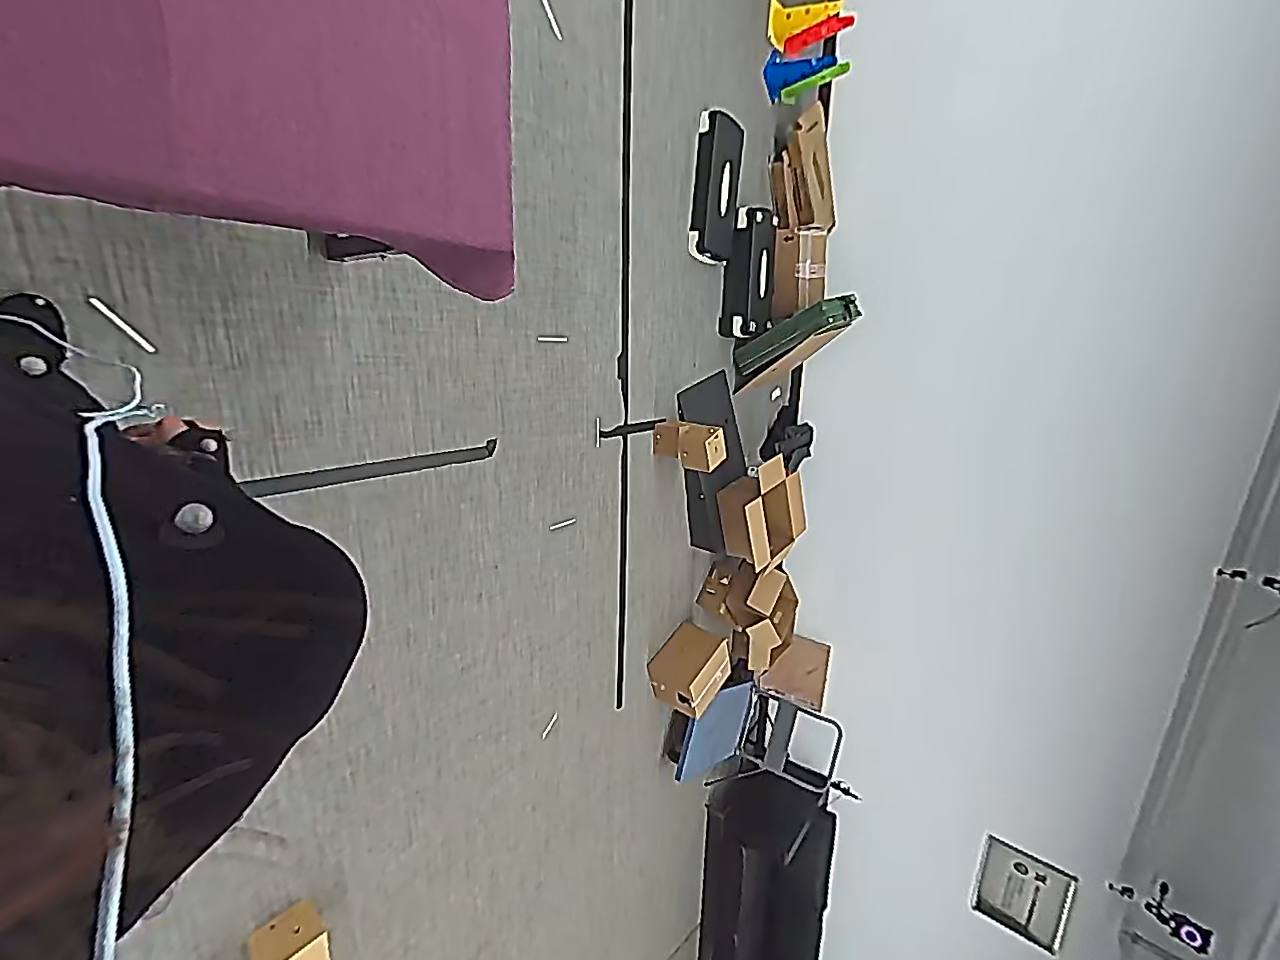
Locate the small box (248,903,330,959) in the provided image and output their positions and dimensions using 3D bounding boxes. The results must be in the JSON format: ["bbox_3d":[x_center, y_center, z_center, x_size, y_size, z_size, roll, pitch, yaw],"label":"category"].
[{"bbox_3d":[-1.102,1.488,1.699,0.168,0.176,0.179,-15,114,-51],"label":"small box"}]
